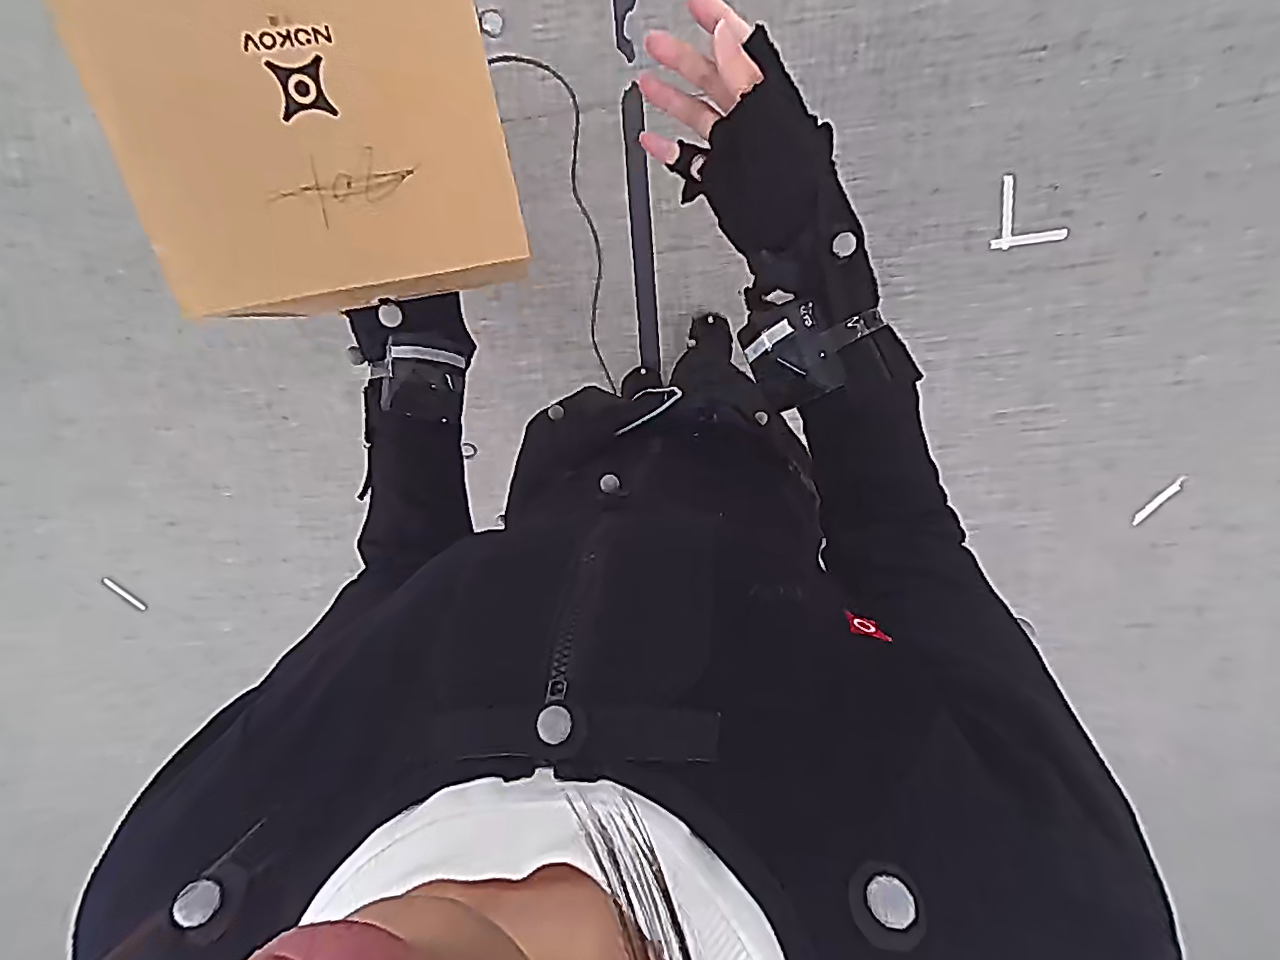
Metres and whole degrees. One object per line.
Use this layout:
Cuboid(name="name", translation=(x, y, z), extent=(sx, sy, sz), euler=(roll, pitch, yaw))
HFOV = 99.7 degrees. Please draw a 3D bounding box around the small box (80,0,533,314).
Cuboid(name="small box", translation=(-0.166, -0.203, 0.325), extent=(0.168, 0.176, 0.179), euler=(-13, 109, -8))
